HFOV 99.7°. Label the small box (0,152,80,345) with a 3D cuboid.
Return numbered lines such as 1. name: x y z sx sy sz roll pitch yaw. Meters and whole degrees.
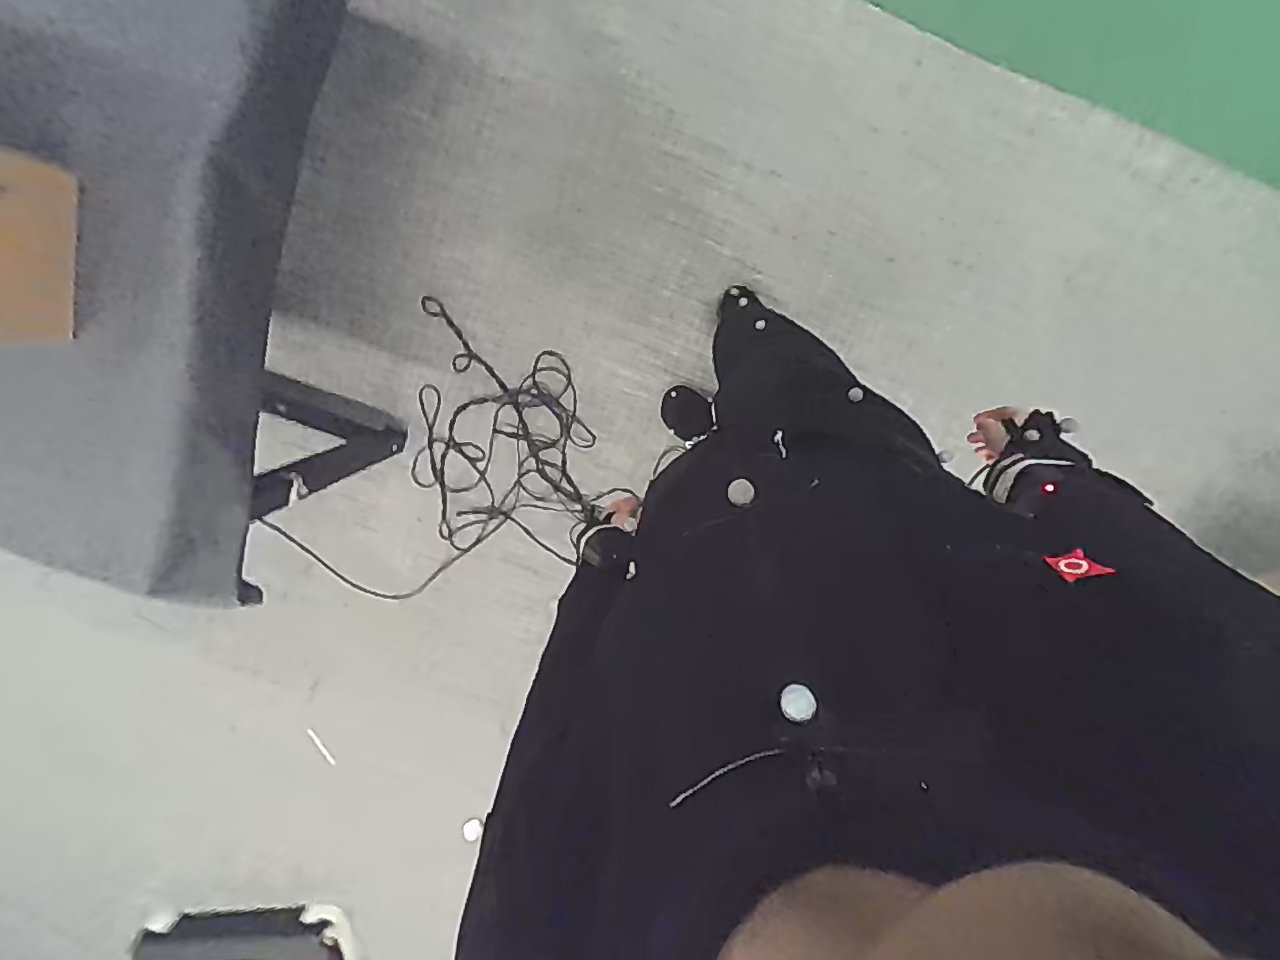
1. small box: -0.667 -0.230 0.487 0.168 0.176 0.179 17 105 -1
